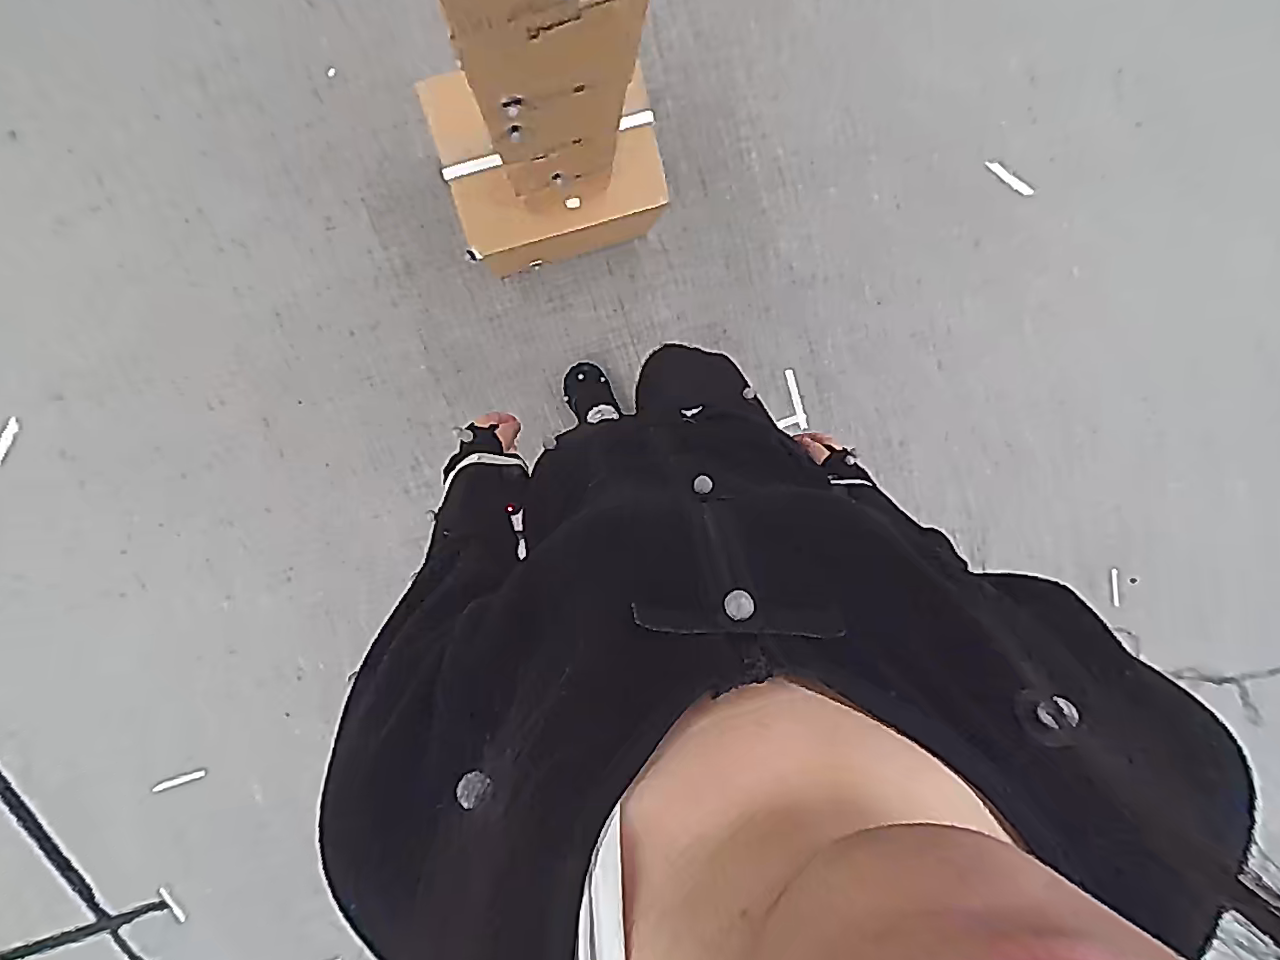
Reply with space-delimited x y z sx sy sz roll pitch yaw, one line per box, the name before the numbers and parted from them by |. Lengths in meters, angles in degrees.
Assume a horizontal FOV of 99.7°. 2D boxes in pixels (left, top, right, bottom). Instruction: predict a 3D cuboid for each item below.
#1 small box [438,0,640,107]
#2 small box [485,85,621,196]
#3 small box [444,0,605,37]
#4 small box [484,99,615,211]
small box | -0.098 -0.463 0.475 0.168 0.176 0.179 -17 105 -3
small box | -0.137 -0.546 0.790 0.168 0.176 0.179 -19 106 -2
small box | -0.079 -0.420 0.317 0.168 0.176 0.179 -19 107 -1
small box | -0.154 -0.594 0.944 0.179 0.176 0.168 -20 106 -2
